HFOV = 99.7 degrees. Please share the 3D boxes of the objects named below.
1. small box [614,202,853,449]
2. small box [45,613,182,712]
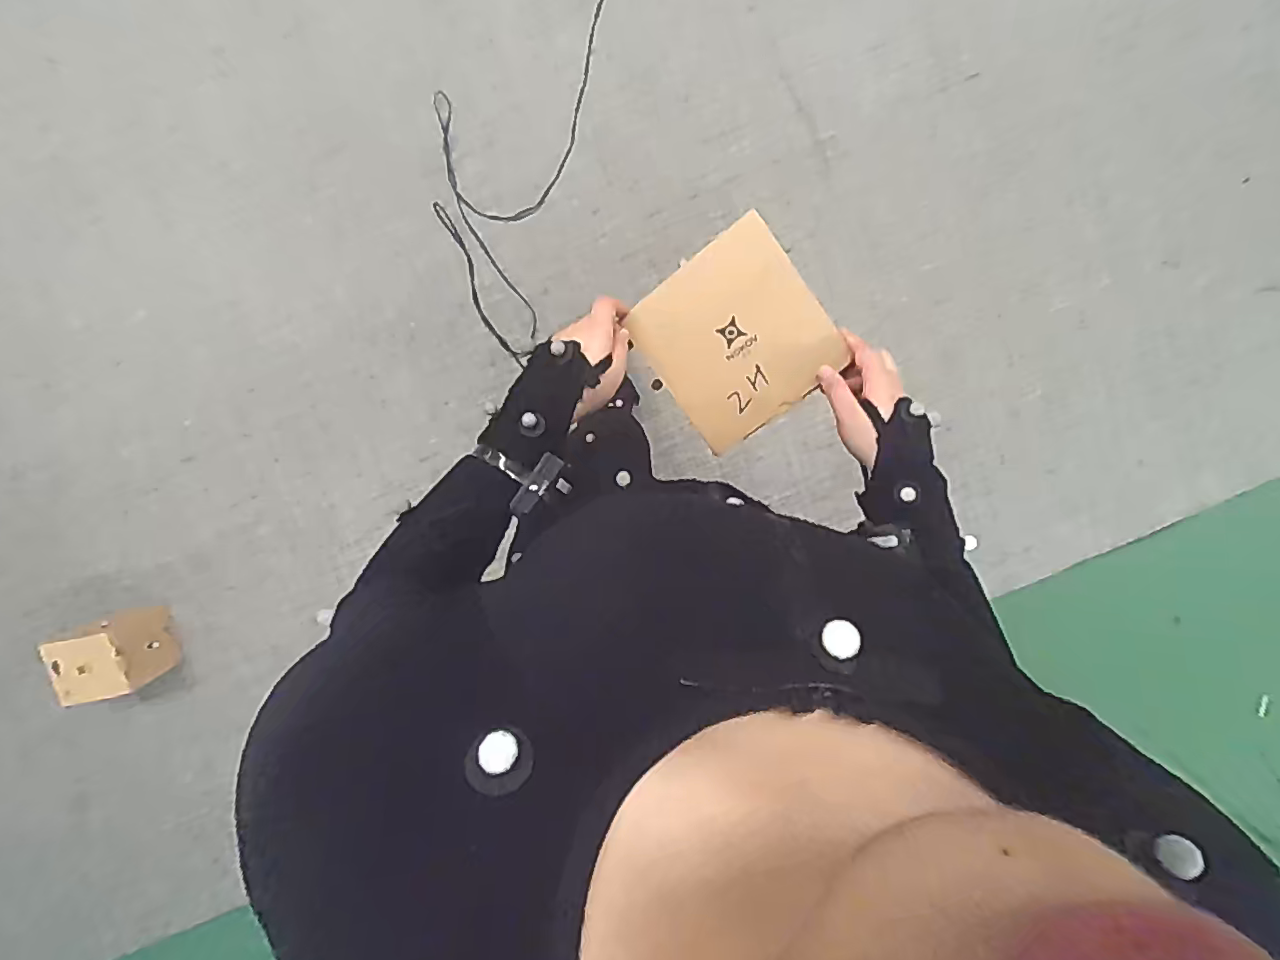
[{"bbox_3d":[0.098,-0.162,0.596,0.168,0.176,0.179,-36,98,16],"label":"small box"},{"bbox_3d":[-1.331,0.460,1.387,0.179,0.176,0.168,-11,99,-1],"label":"small box"}]
